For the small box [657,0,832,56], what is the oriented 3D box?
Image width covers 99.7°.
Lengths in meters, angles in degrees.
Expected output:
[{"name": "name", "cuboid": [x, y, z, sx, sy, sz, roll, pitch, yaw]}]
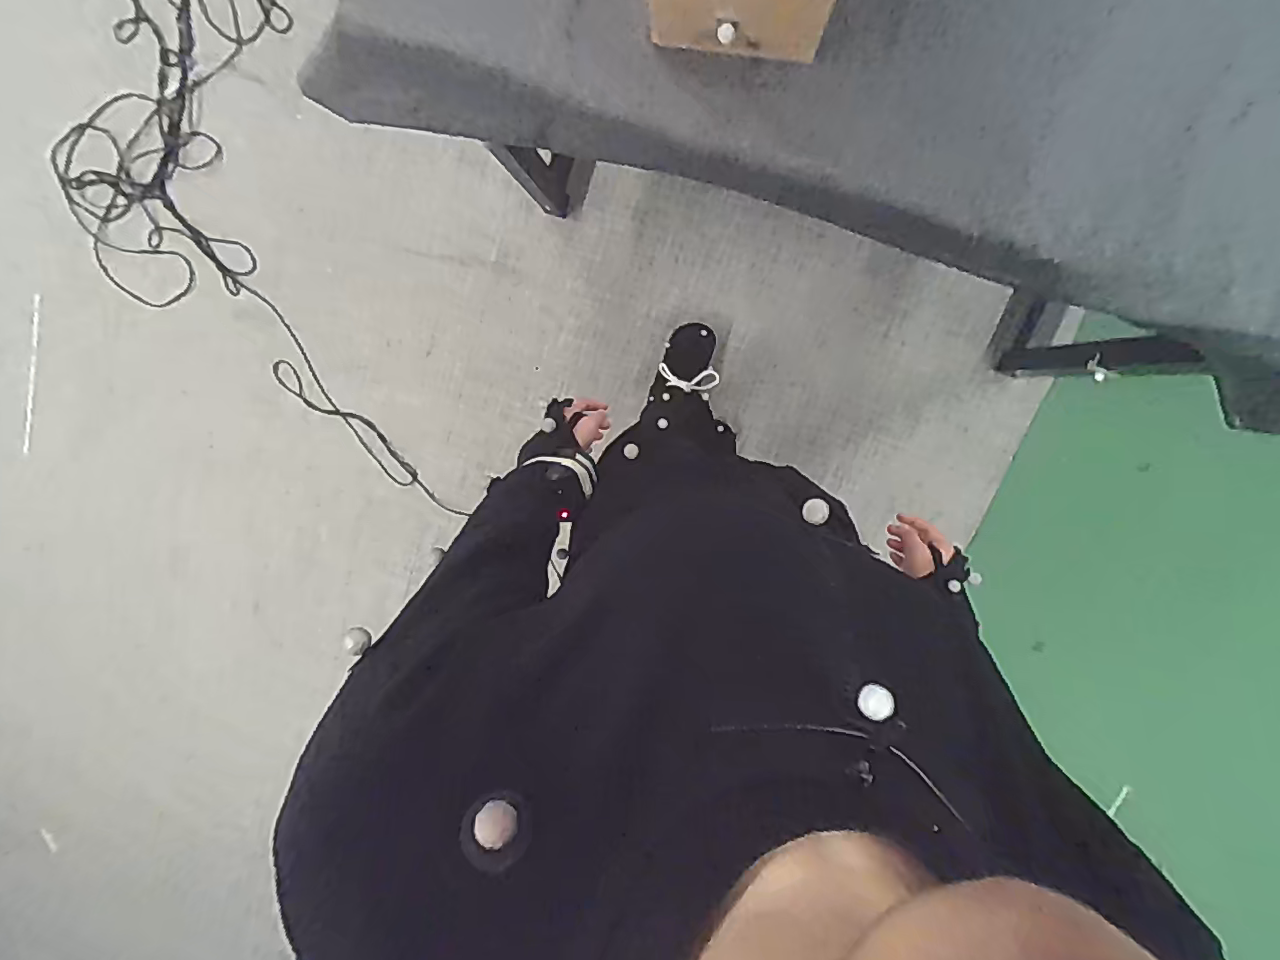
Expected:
[{"name": "small box", "cuboid": [0.101, -0.510, 0.455, 0.168, 0.176, 0.179, 10, 102, 4]}]
